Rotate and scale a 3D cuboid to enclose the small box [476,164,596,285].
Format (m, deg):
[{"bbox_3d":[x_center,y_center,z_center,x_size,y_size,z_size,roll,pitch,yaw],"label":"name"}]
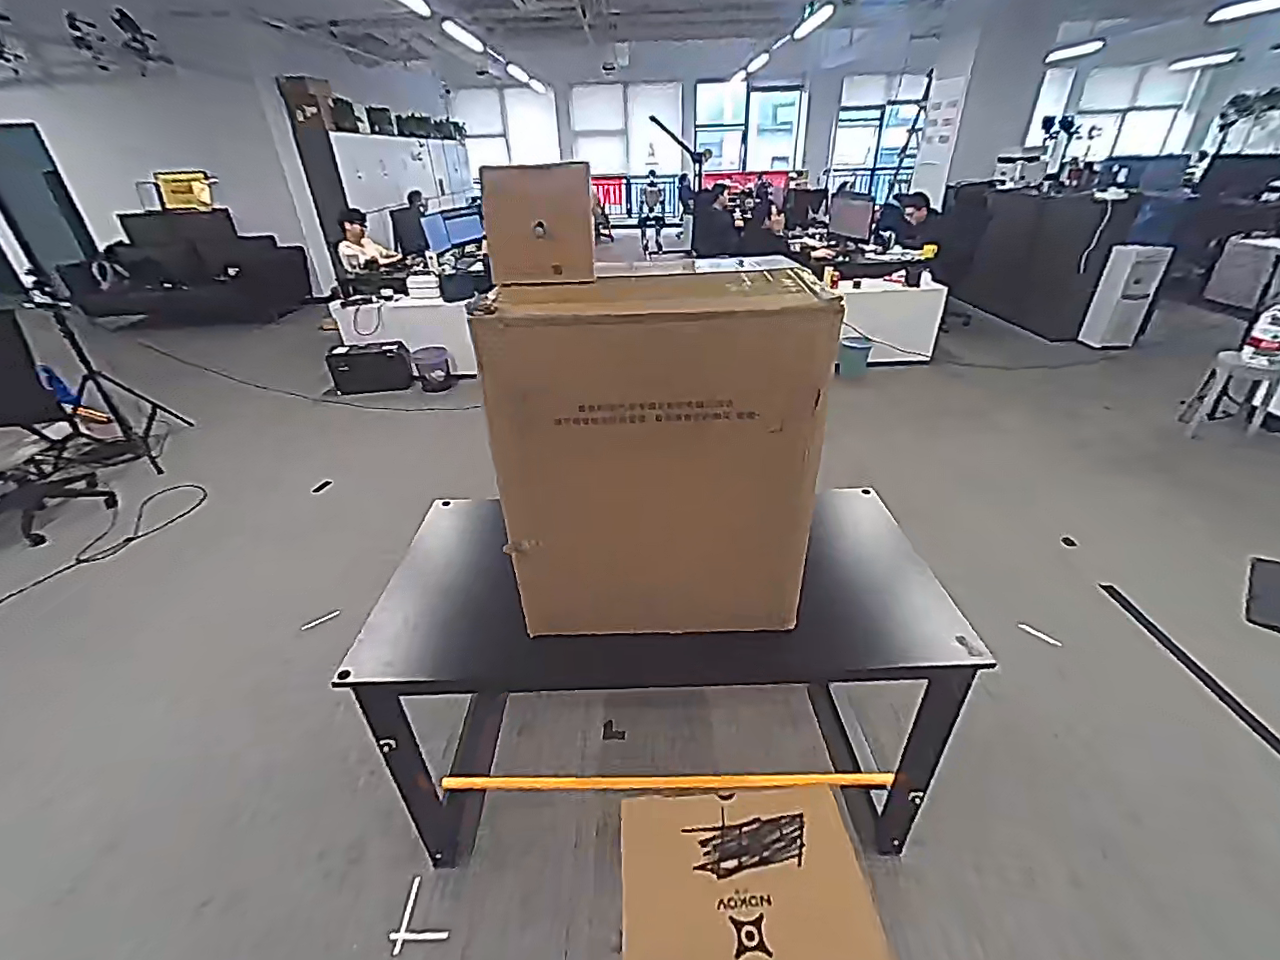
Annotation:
[{"bbox_3d":[-0.161,-0.424,0.902,0.168,0.176,0.179,-3,30,-3],"label":"small box"}]

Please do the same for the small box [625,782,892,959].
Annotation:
[{"bbox_3d":[0.075,0.354,0.388,0.168,0.176,0.179,-4,26,0],"label":"small box"}]
